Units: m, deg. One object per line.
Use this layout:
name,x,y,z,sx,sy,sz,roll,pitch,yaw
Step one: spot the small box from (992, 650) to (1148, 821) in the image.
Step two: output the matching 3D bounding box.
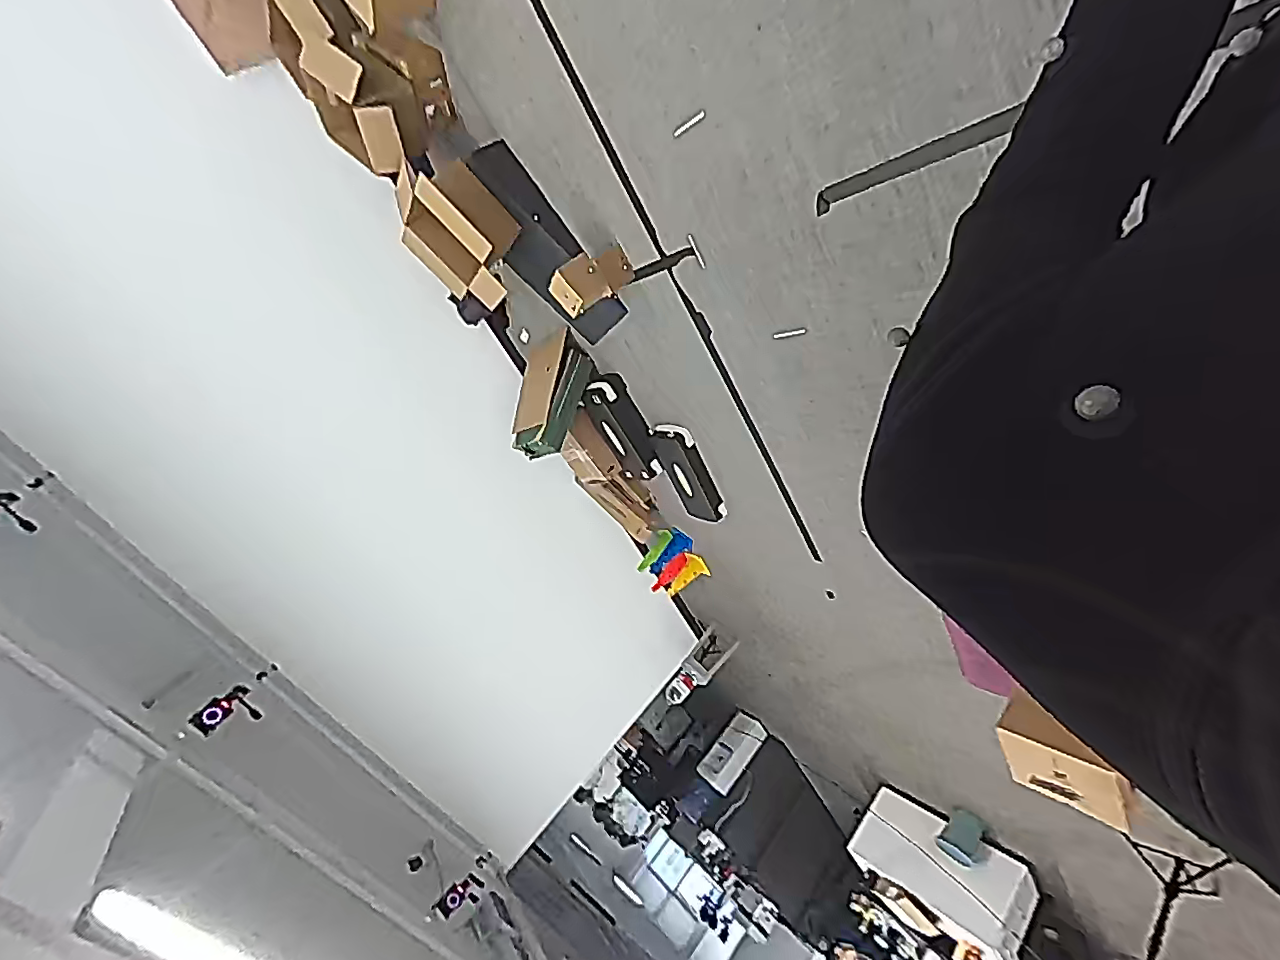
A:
small box,0.755,0.436,0.945,0.168,0.176,0.179,8,135,54
